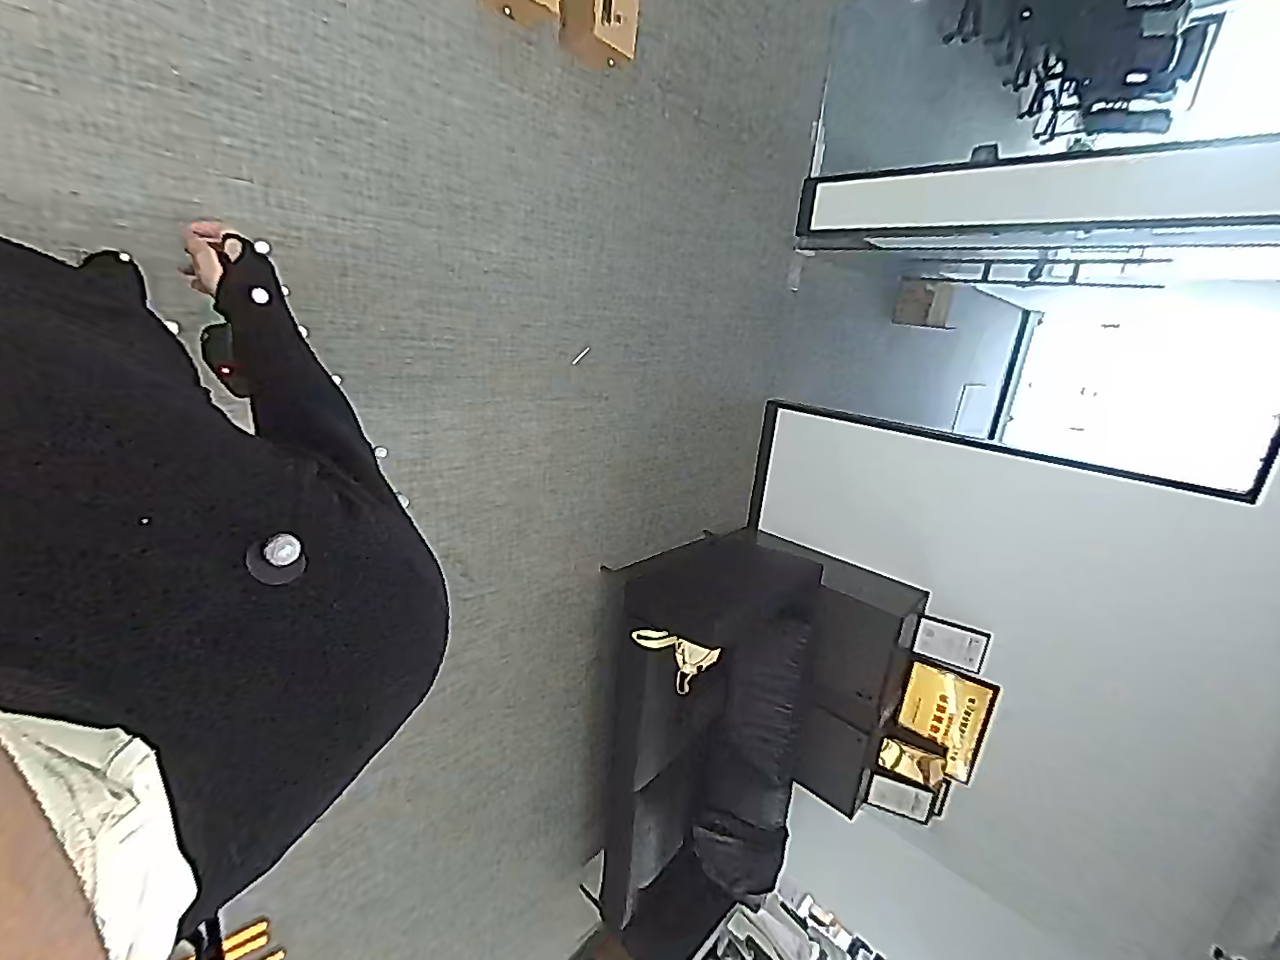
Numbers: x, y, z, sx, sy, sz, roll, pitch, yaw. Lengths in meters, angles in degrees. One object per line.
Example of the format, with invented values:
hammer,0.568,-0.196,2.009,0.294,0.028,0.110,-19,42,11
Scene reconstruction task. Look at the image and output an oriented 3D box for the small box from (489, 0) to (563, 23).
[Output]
small box,-0.319,-1.410,1.480,0.168,0.176,0.179,-8,113,-46
